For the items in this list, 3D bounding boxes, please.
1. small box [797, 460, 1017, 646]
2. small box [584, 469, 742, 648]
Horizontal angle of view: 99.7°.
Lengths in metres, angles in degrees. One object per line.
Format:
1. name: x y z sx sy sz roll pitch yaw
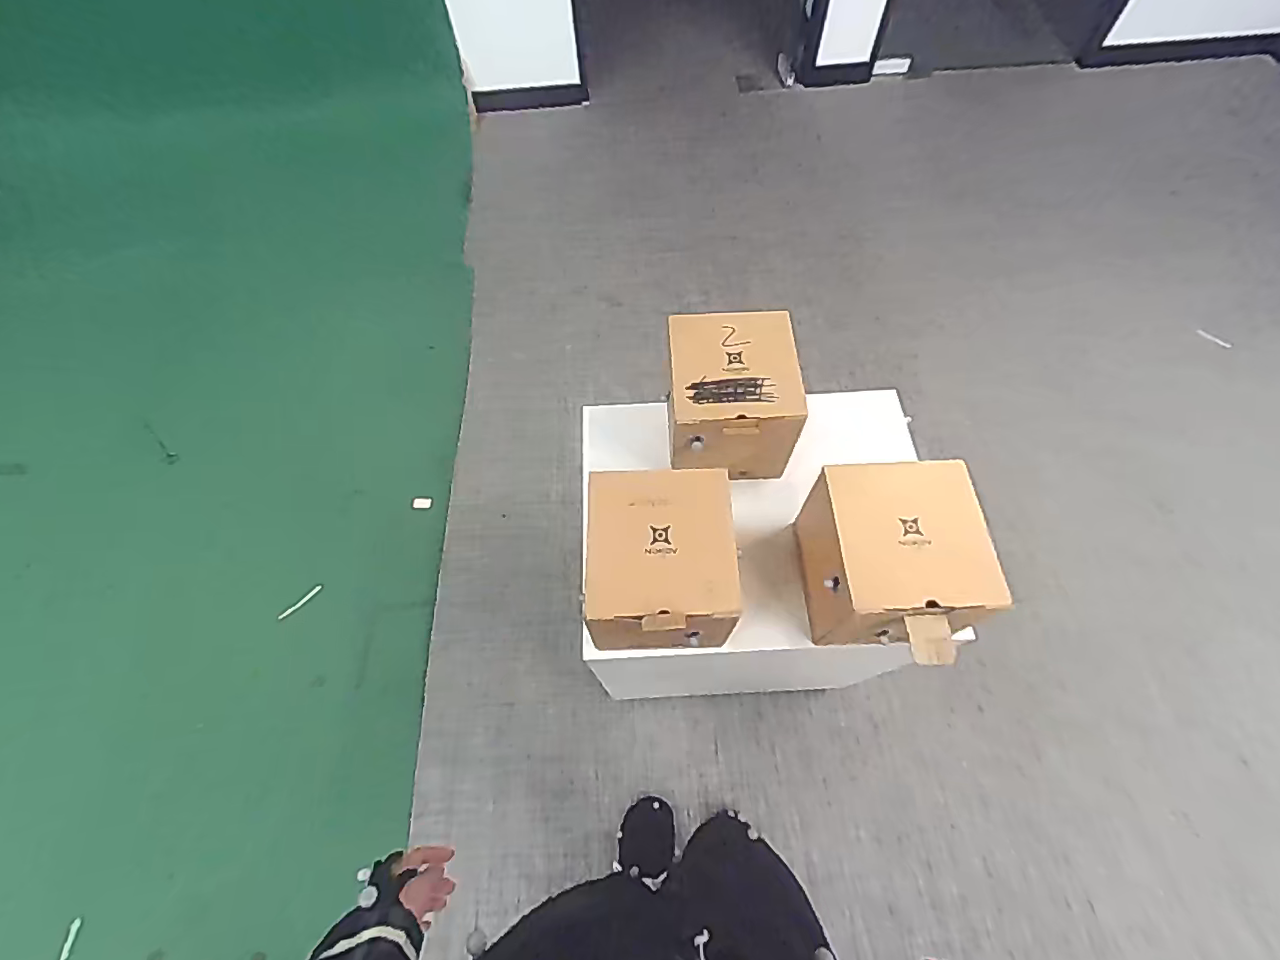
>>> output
1. small box: 0.301 0.094 0.657 0.168 0.176 0.179 -3 62 1
2. small box: 0.024 0.104 0.661 0.168 0.176 0.179 -1 61 -1
